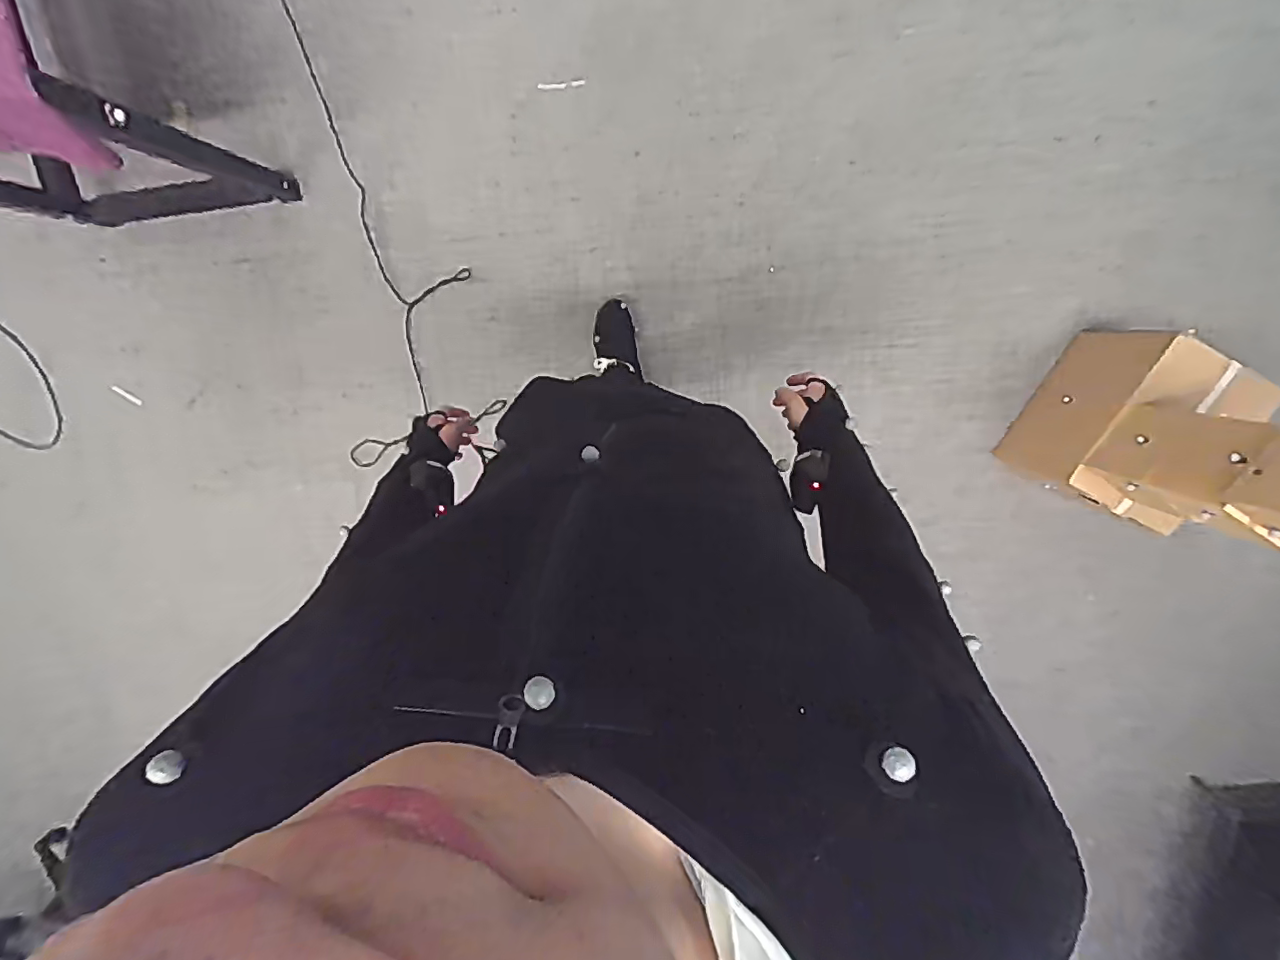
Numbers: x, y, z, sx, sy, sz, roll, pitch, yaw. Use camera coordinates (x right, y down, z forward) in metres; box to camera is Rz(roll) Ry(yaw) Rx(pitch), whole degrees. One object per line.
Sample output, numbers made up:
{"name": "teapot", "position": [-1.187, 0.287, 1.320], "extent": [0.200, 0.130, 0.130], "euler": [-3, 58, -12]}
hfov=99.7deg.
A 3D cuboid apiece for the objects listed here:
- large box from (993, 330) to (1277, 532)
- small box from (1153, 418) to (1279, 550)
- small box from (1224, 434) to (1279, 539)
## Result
{"name": "large box", "position": [1.250, -0.140, 1.418], "extent": [0.320, 0.320, 0.408], "euler": [26, 104, -7]}
{"name": "small box", "position": [1.157, 0.001, 1.036], "extent": [0.168, 0.176, 0.179], "euler": [30, 103, -6]}
{"name": "small box", "position": [1.143, 0.029, 0.875], "extent": [0.179, 0.176, 0.168], "euler": [31, 102, -7]}
